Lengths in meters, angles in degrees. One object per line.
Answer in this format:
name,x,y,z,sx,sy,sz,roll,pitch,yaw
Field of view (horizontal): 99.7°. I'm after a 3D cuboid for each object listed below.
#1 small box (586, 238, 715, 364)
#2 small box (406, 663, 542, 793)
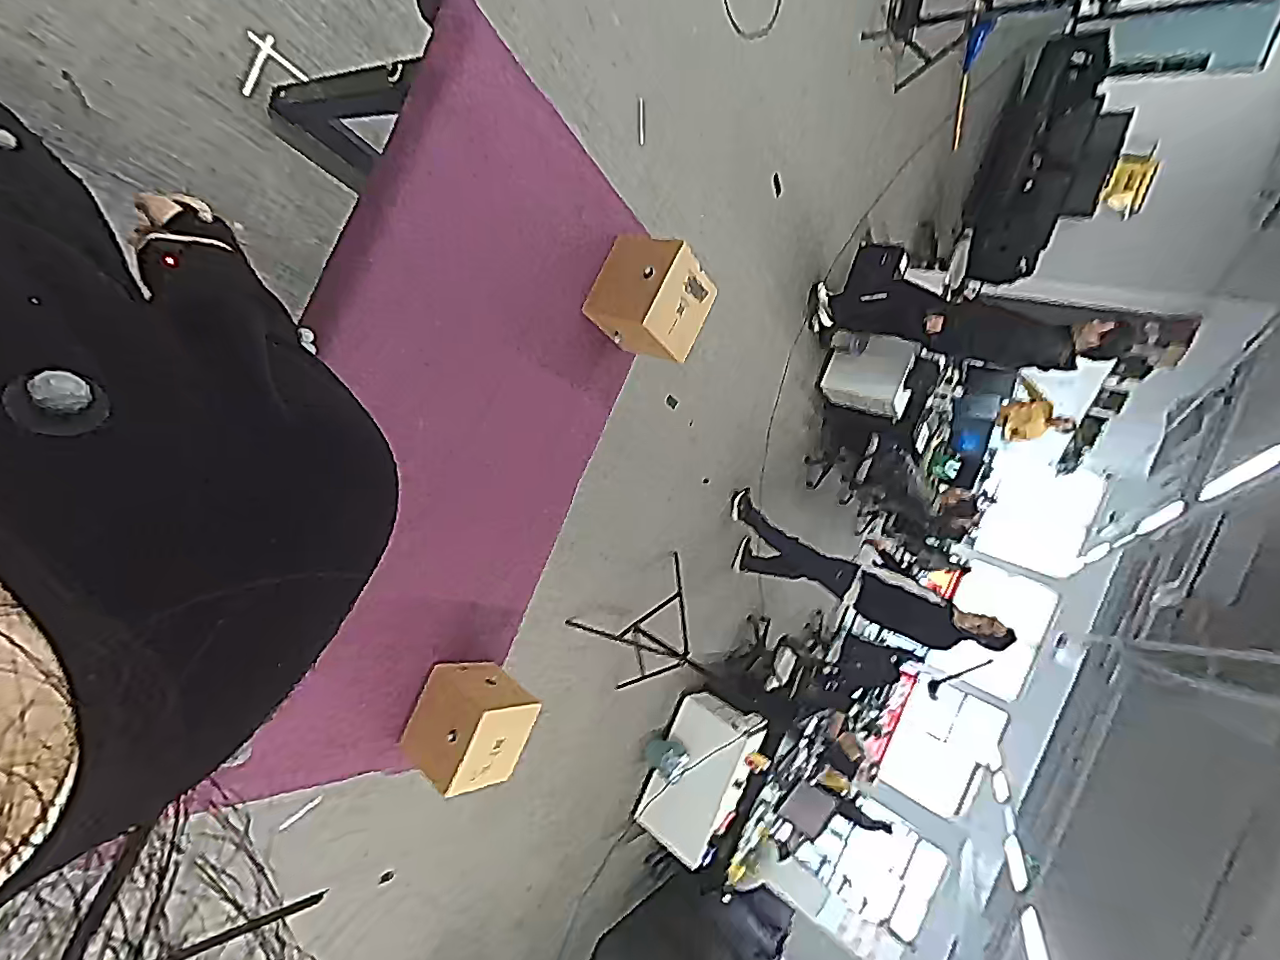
small box,0.020,-0.365,1.097,0.168,0.176,0.179,30,85,-55
small box,-0.338,0.485,1.094,0.168,0.176,0.179,27,87,-56
